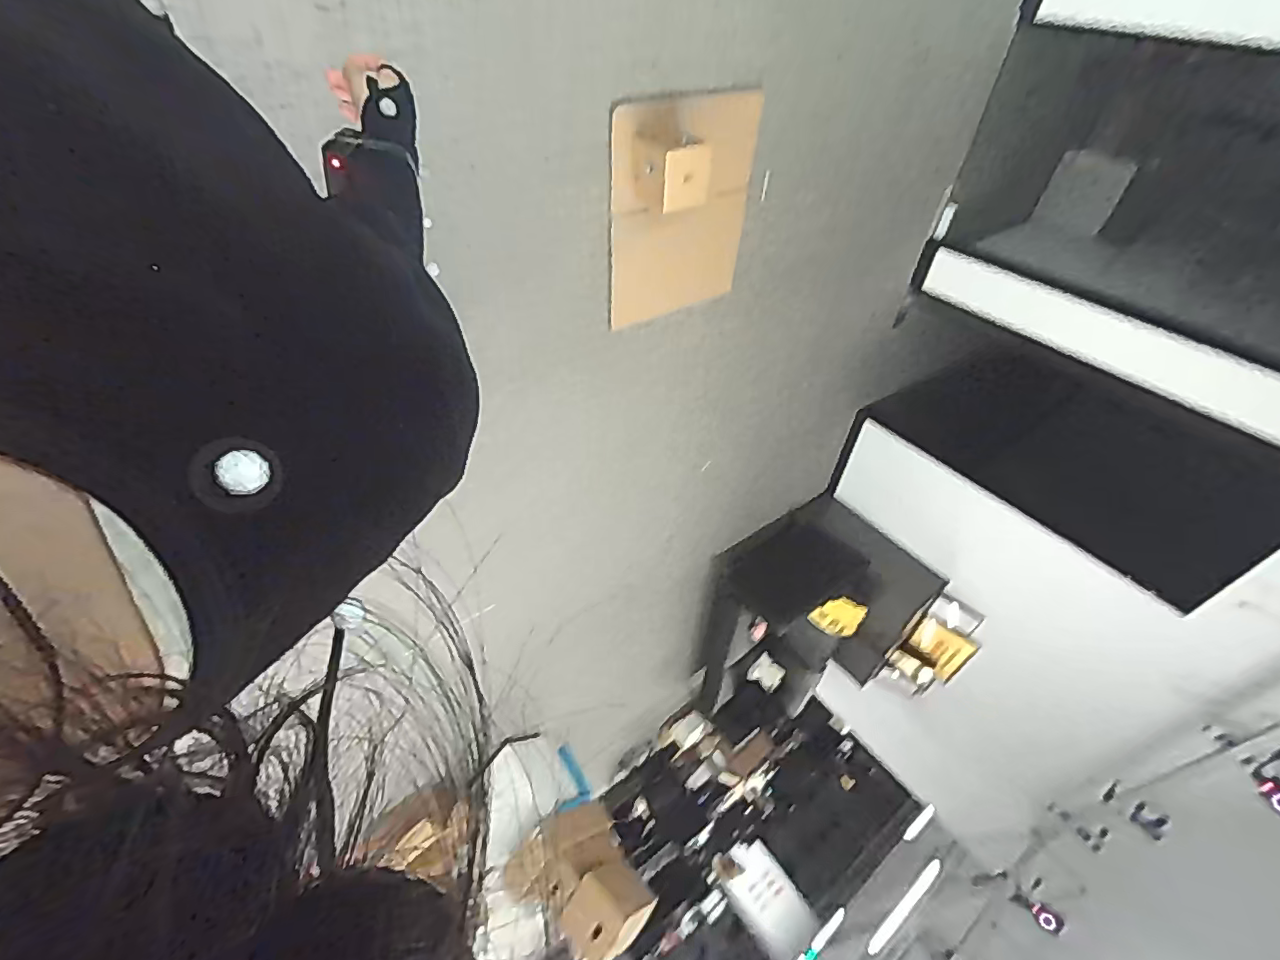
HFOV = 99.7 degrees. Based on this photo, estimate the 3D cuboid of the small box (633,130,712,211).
[{"bbox_3d":[0.091,-0.937,1.632,0.179,0.176,0.168,-28,143,-26],"label":"small box"}]
